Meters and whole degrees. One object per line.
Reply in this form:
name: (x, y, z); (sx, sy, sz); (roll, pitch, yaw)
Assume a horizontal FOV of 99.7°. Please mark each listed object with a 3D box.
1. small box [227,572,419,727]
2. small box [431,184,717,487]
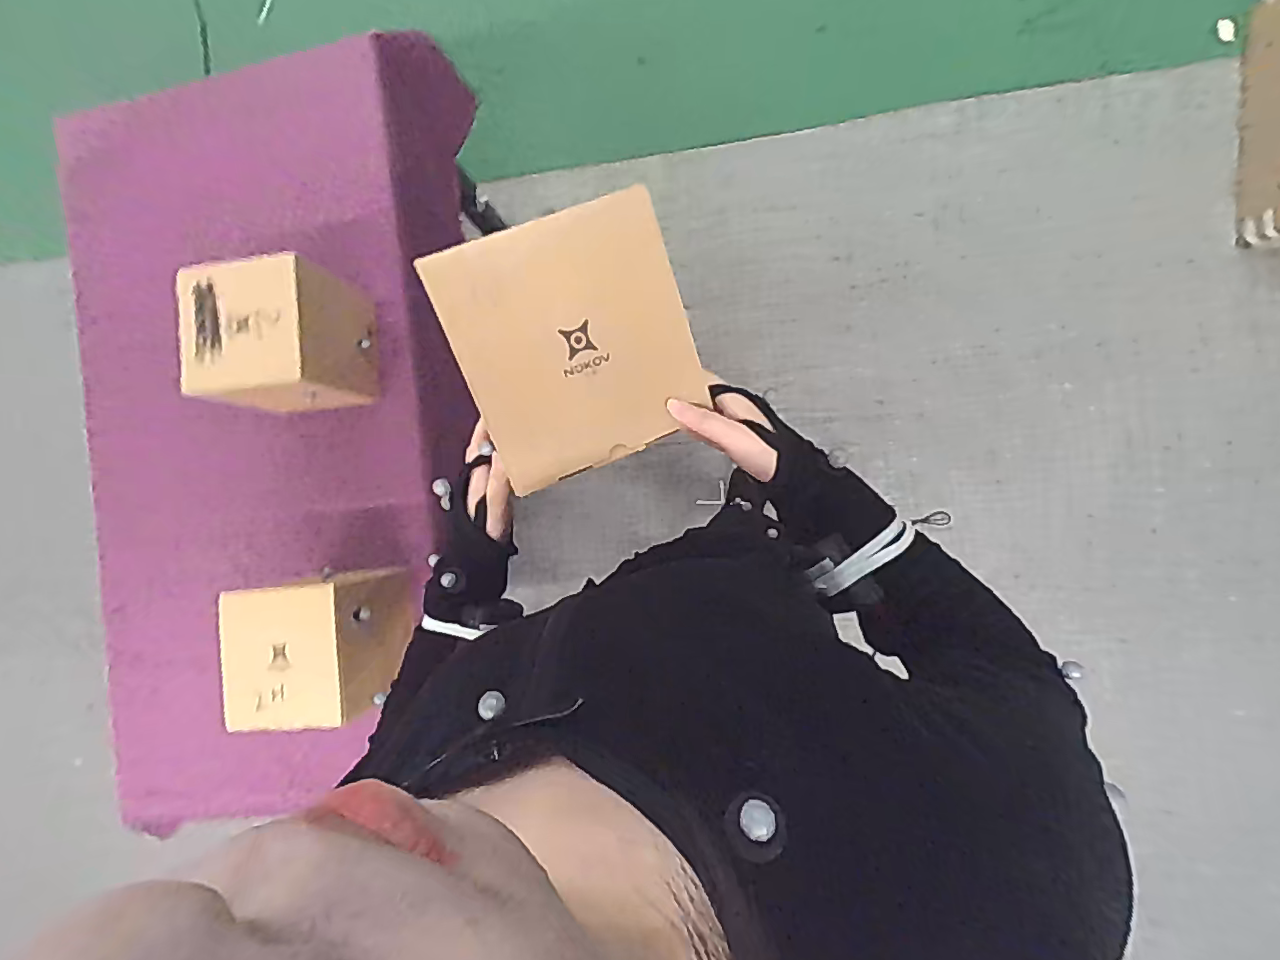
small box: (-0.433, 0.225, 0.760); (0.168, 0.176, 0.179); (-6, 88, 10)
small box: (-0.058, -0.119, 0.464); (0.168, 0.176, 0.179); (-22, 110, -7)
